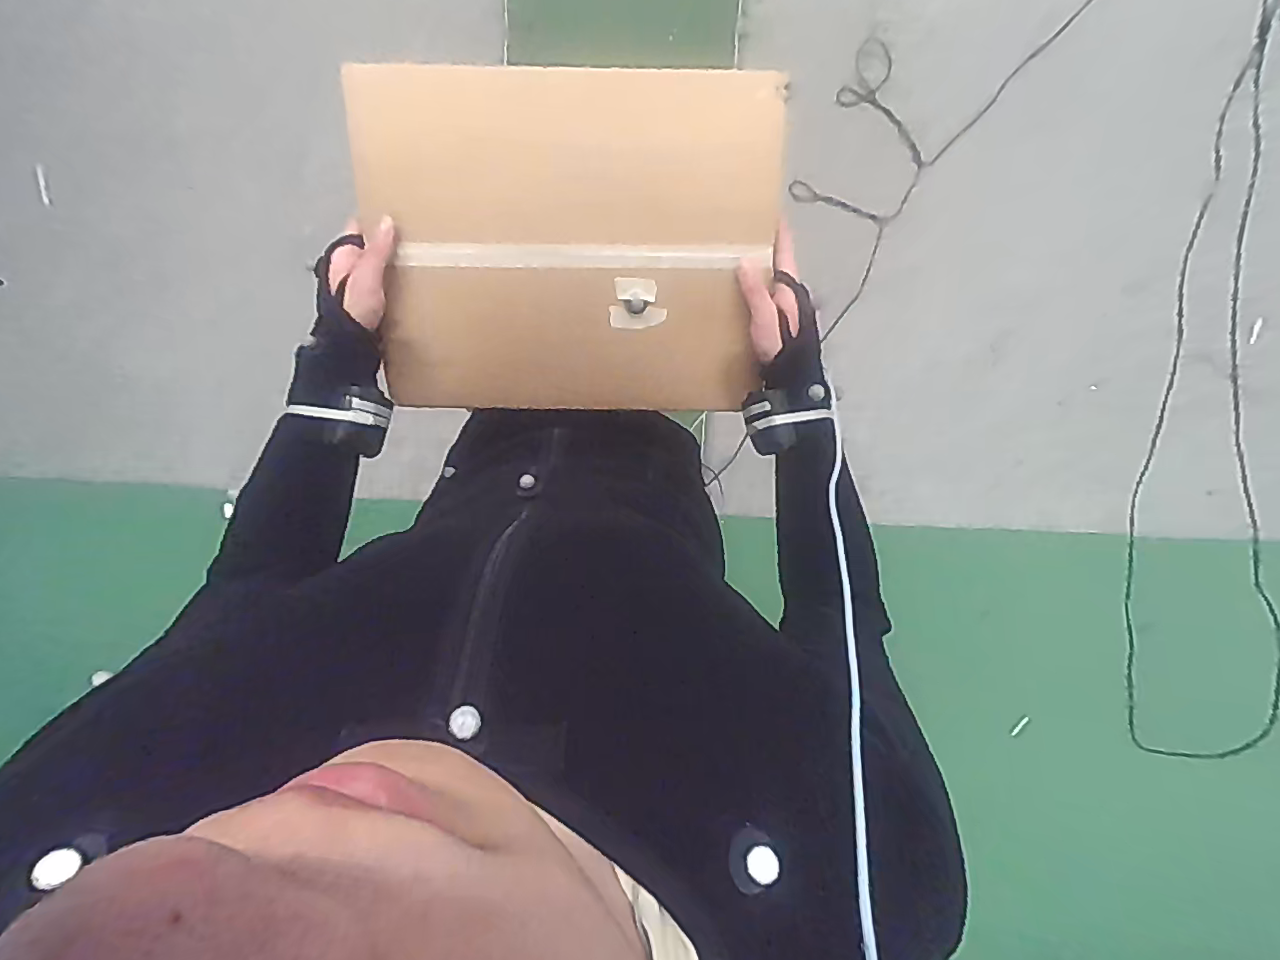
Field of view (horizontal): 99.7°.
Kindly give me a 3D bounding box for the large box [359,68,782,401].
[{"bbox_3d":[-0.068,-0.282,0.690,0.408,0.320,0.320,0,110,-1],"label":"large box"}]
